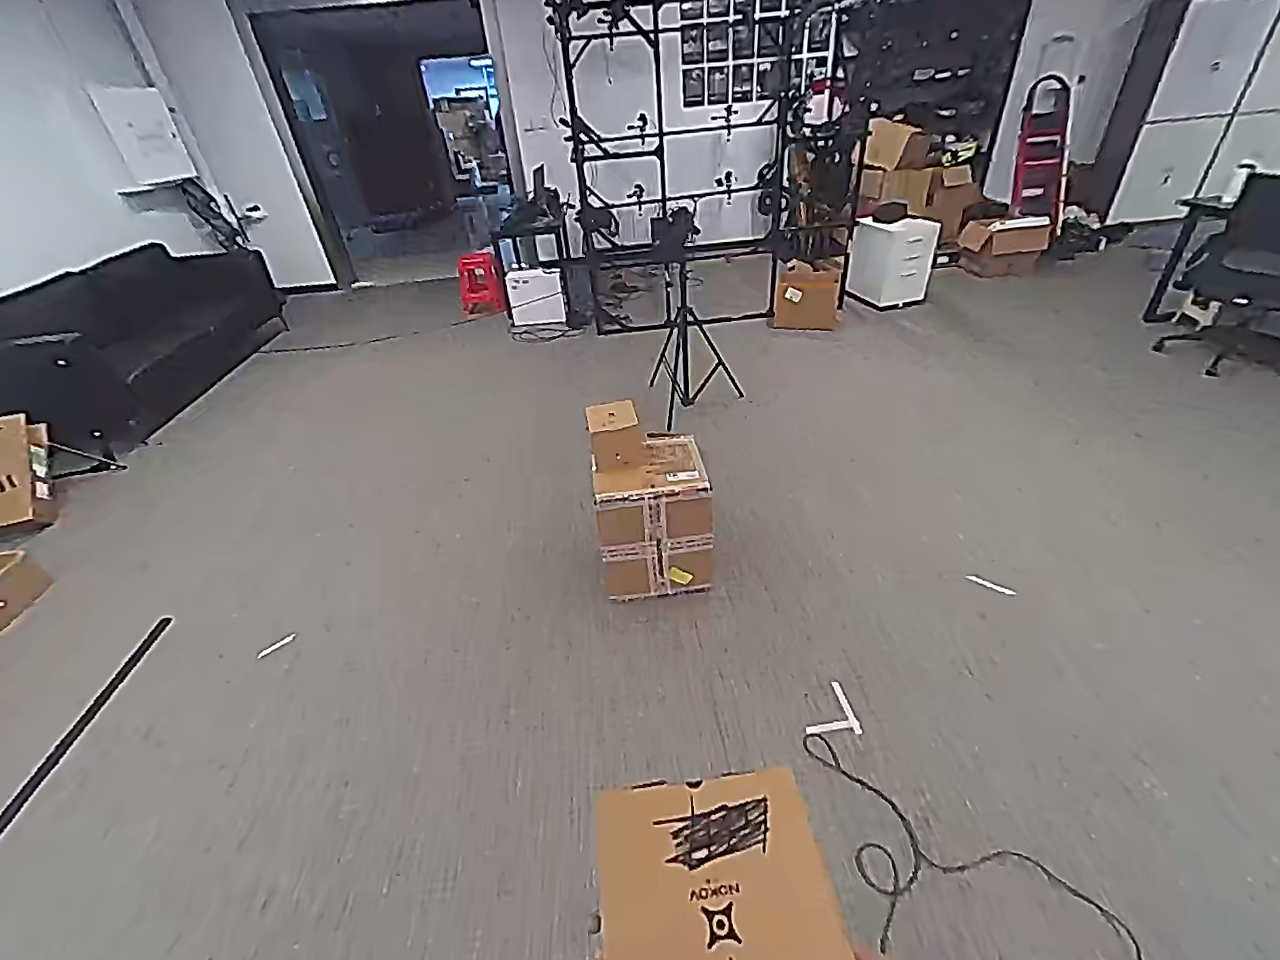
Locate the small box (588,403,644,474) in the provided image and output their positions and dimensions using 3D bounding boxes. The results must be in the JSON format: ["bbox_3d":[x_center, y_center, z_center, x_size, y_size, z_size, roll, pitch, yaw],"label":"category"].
[{"bbox_3d":[-0.086,-0.145,1.894,0.168,0.176,0.179,-11,38,-3],"label":"small box"}]

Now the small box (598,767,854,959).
[{"bbox_3d":[0.054,0.360,0.425,0.168,0.176,0.179,-5,39,-6],"label":"small box"}]
